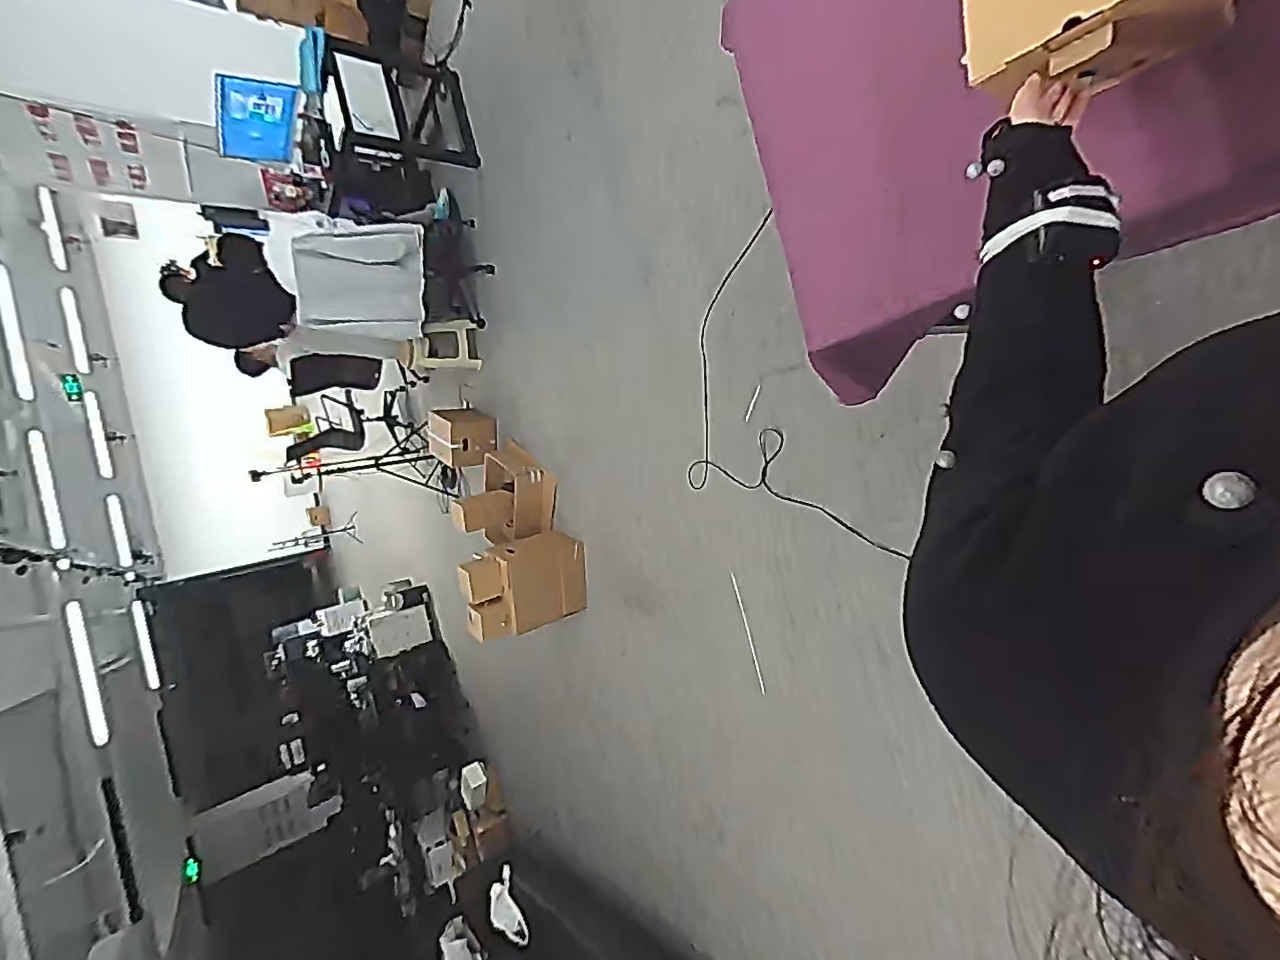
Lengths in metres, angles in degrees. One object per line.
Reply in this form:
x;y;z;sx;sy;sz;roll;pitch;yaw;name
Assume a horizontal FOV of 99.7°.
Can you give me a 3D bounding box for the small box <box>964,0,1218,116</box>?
0.437;-0.502;0.529;0.168;0.176;0.179;-2;99;52;small box
